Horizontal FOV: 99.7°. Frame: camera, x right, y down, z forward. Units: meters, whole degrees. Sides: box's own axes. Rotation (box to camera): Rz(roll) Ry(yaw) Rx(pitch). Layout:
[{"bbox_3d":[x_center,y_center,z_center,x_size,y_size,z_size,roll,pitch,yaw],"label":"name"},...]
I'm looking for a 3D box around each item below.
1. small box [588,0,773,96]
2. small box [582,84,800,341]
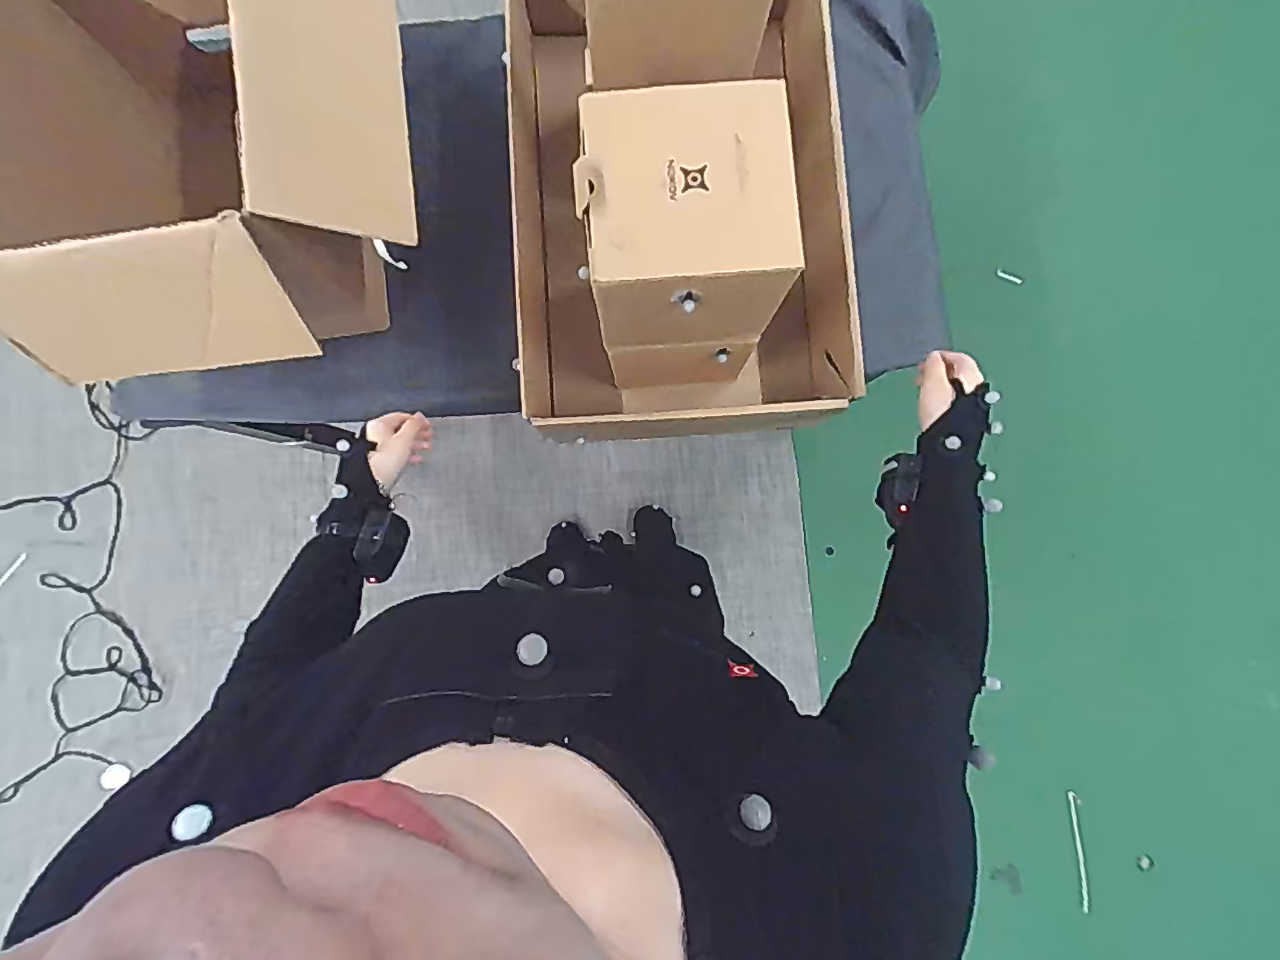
[{"bbox_3d":[0.031,-0.498,0.546,0.168,0.176,0.179,-2,89,-1],"label":"small box"},{"bbox_3d":[0.042,-0.245,0.534,0.179,0.176,0.168,-4,86,-1],"label":"small box"}]
